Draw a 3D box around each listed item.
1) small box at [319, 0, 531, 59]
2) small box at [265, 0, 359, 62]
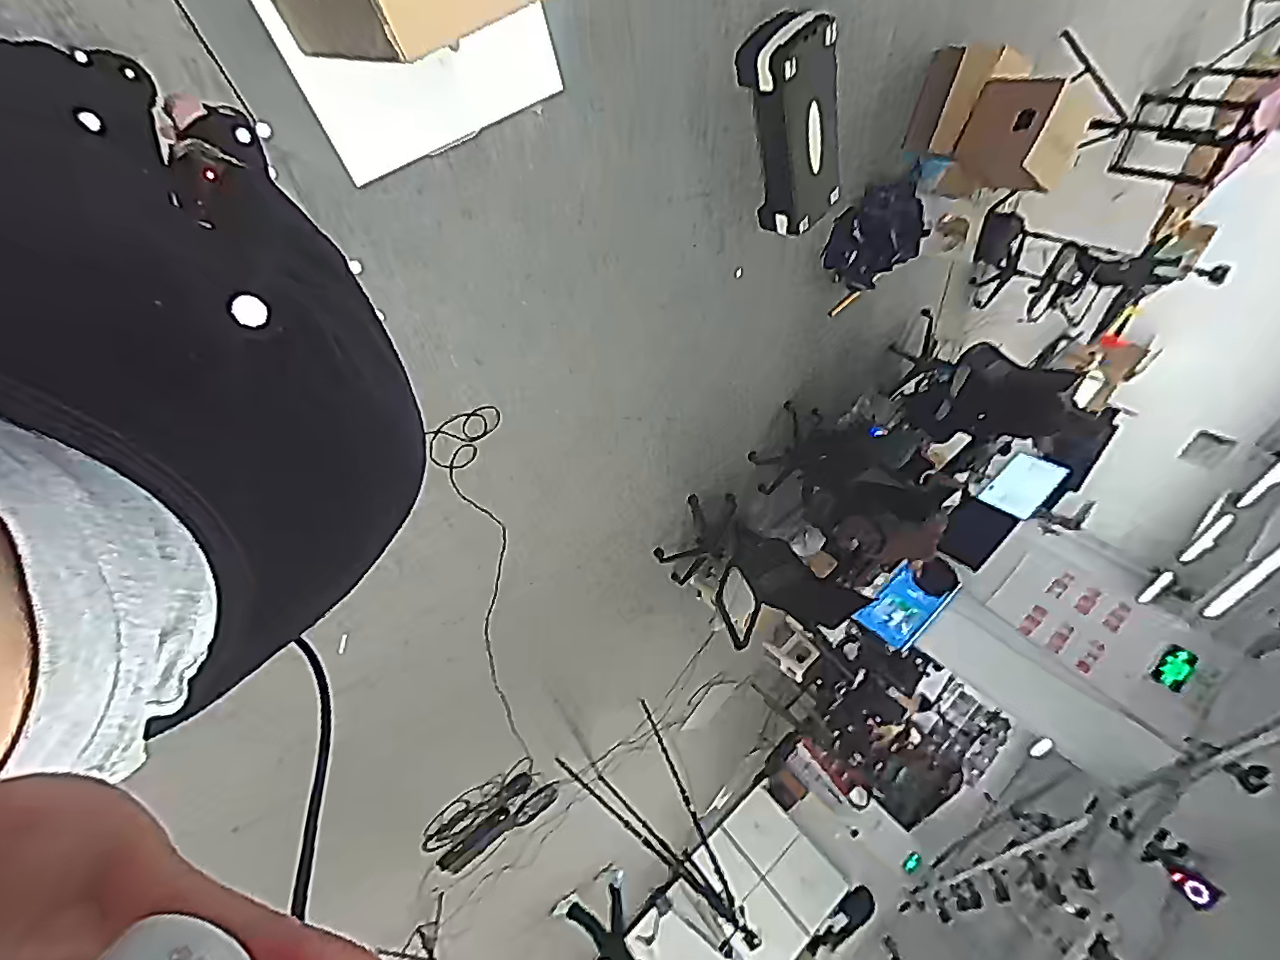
[{"bbox_3d":[-0.233,-0.534,0.520,0.179,0.176,0.168,-43,143,-17],"label":"small box"},{"bbox_3d":[-0.342,-0.611,0.616,0.179,0.176,0.168,-44,142,-16],"label":"small box"}]
